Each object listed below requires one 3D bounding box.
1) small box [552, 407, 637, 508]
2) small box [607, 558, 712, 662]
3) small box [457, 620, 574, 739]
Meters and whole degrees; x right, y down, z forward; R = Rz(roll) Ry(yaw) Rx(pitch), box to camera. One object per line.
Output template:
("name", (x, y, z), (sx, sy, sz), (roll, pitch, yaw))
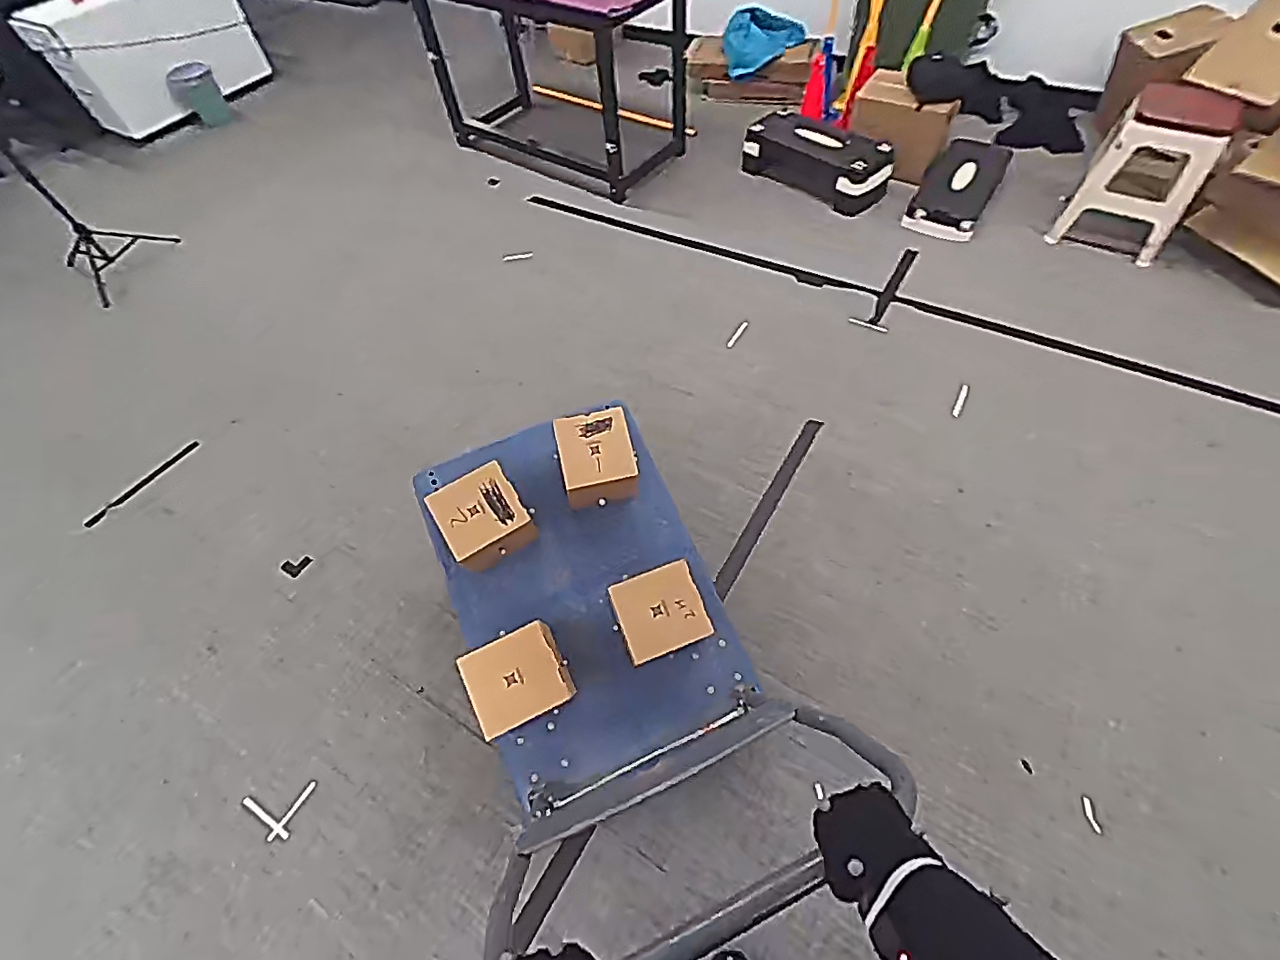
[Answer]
("small box", (-0.110, -0.050, 1.291), (0.168, 0.176, 0.179), (-12, 73, -7))
("small box", (0.037, 0.289, 1.178), (0.179, 0.176, 0.168), (-20, 73, -10))
("small box", (-0.250, 0.411, 1.122), (0.179, 0.176, 0.168), (-25, 73, -12))
